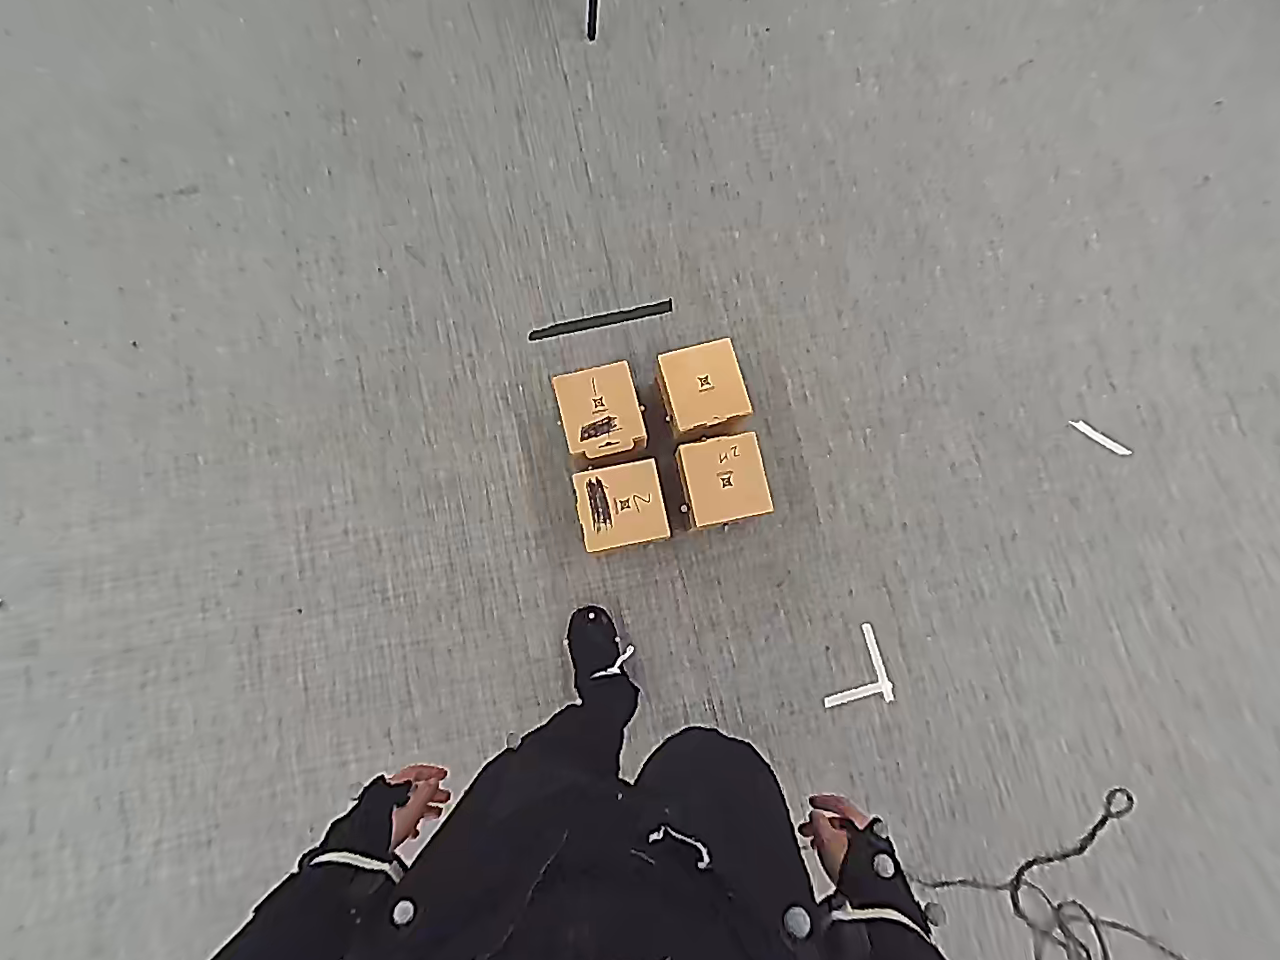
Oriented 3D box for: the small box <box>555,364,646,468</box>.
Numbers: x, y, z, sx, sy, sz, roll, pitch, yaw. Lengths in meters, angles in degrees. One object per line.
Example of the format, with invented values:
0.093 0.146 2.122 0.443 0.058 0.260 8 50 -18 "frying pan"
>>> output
-0.083 -0.133 1.209 0.168 0.176 0.179 -13 79 -4 "small box"
